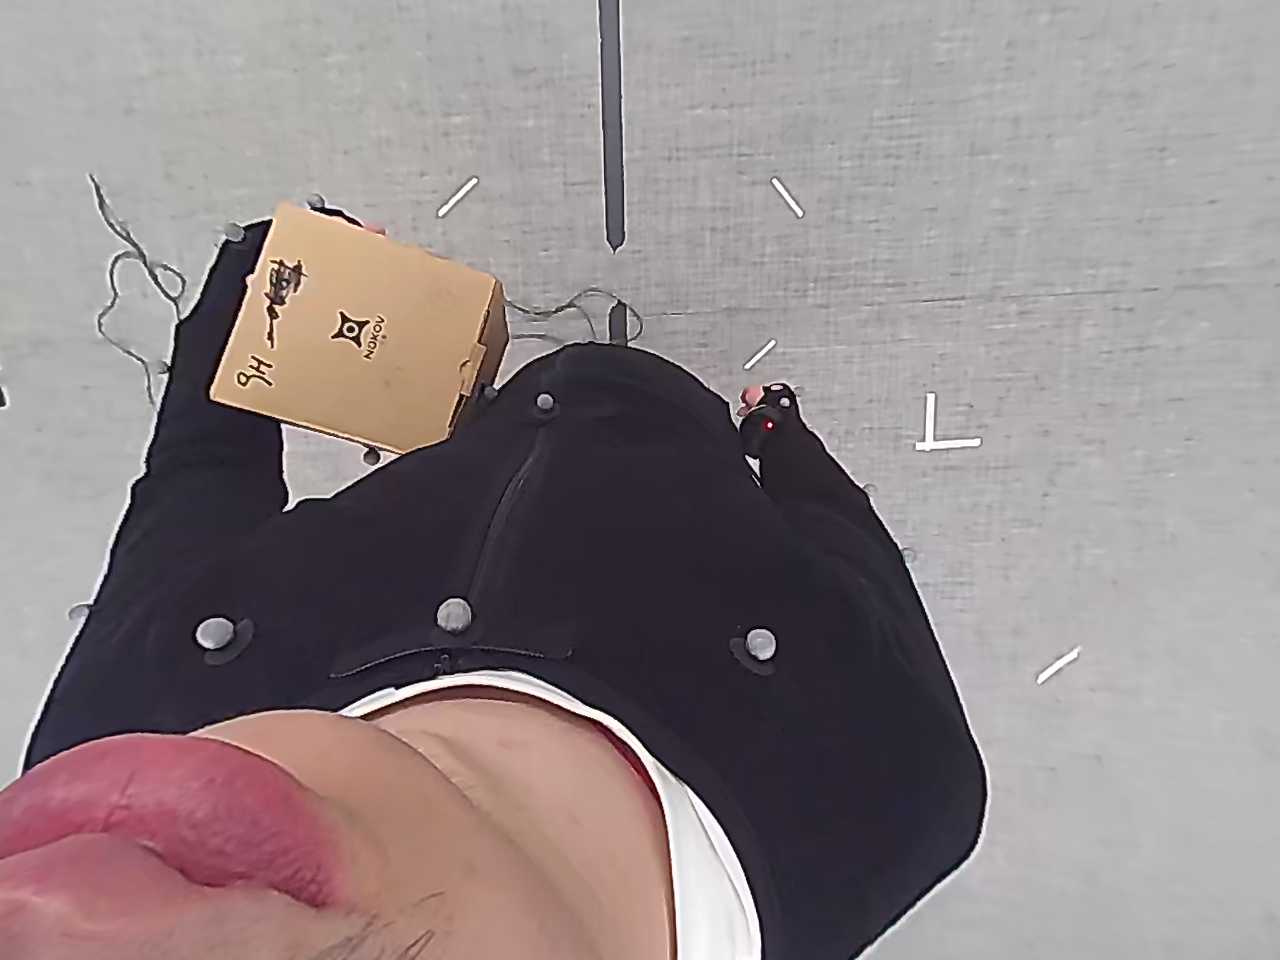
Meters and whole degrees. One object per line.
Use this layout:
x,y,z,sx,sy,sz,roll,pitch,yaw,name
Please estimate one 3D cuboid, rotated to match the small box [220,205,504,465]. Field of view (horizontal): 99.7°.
-0.235,-0.115,0.514,0.179,0.176,0.168,17,84,-11,small box
